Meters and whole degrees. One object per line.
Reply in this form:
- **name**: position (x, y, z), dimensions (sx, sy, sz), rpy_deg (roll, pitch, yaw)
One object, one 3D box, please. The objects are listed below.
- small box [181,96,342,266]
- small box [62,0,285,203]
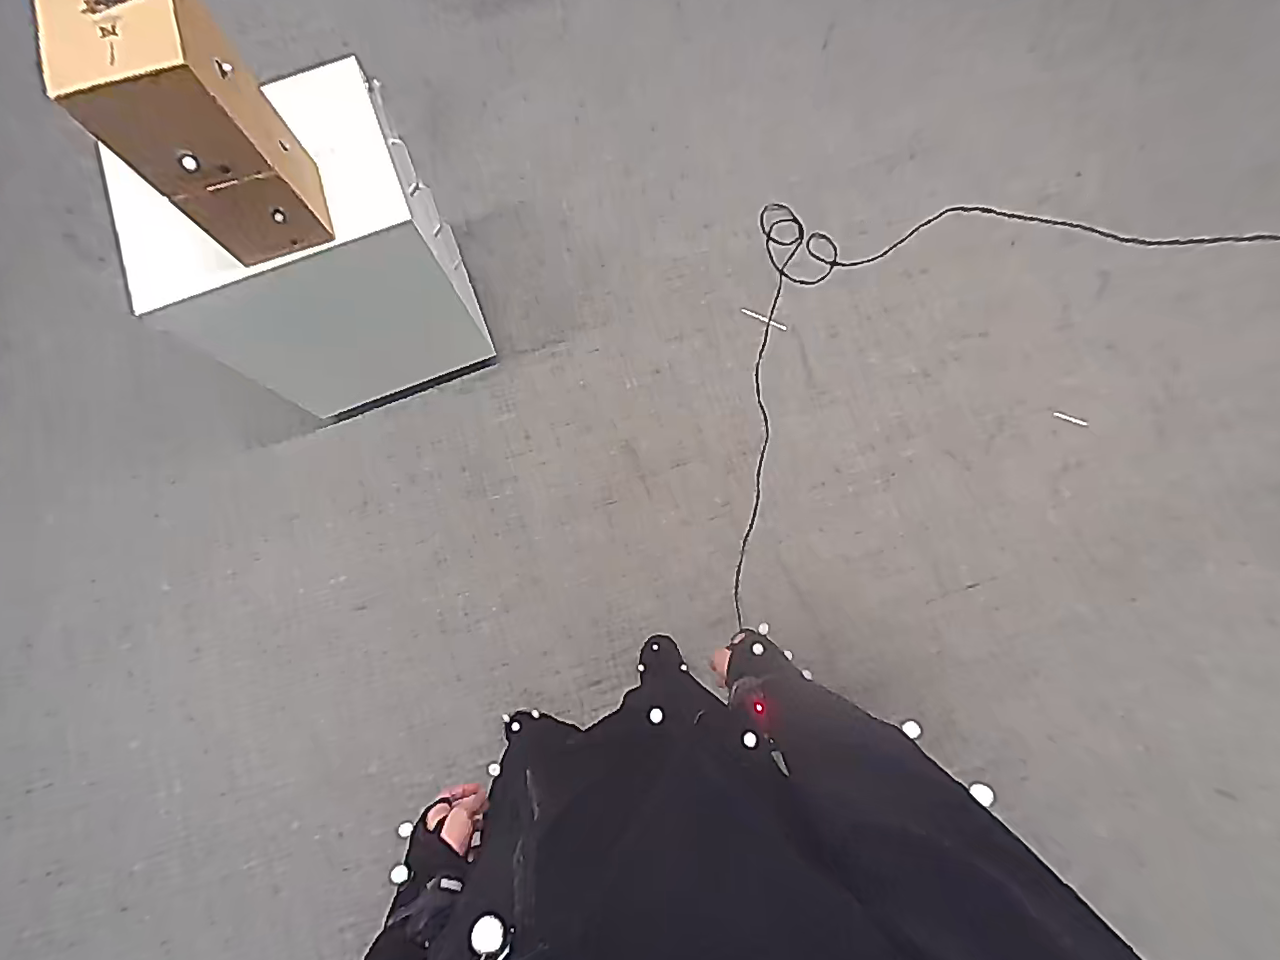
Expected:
- **small box**: position (-0.638, -0.492, 0.918), dimensions (0.168, 0.176, 0.179), rpy_deg (-19, 75, -4)
- **small box**: position (-0.640, -0.533, 0.759), dimensions (0.168, 0.176, 0.179), rpy_deg (-18, 77, -4)
